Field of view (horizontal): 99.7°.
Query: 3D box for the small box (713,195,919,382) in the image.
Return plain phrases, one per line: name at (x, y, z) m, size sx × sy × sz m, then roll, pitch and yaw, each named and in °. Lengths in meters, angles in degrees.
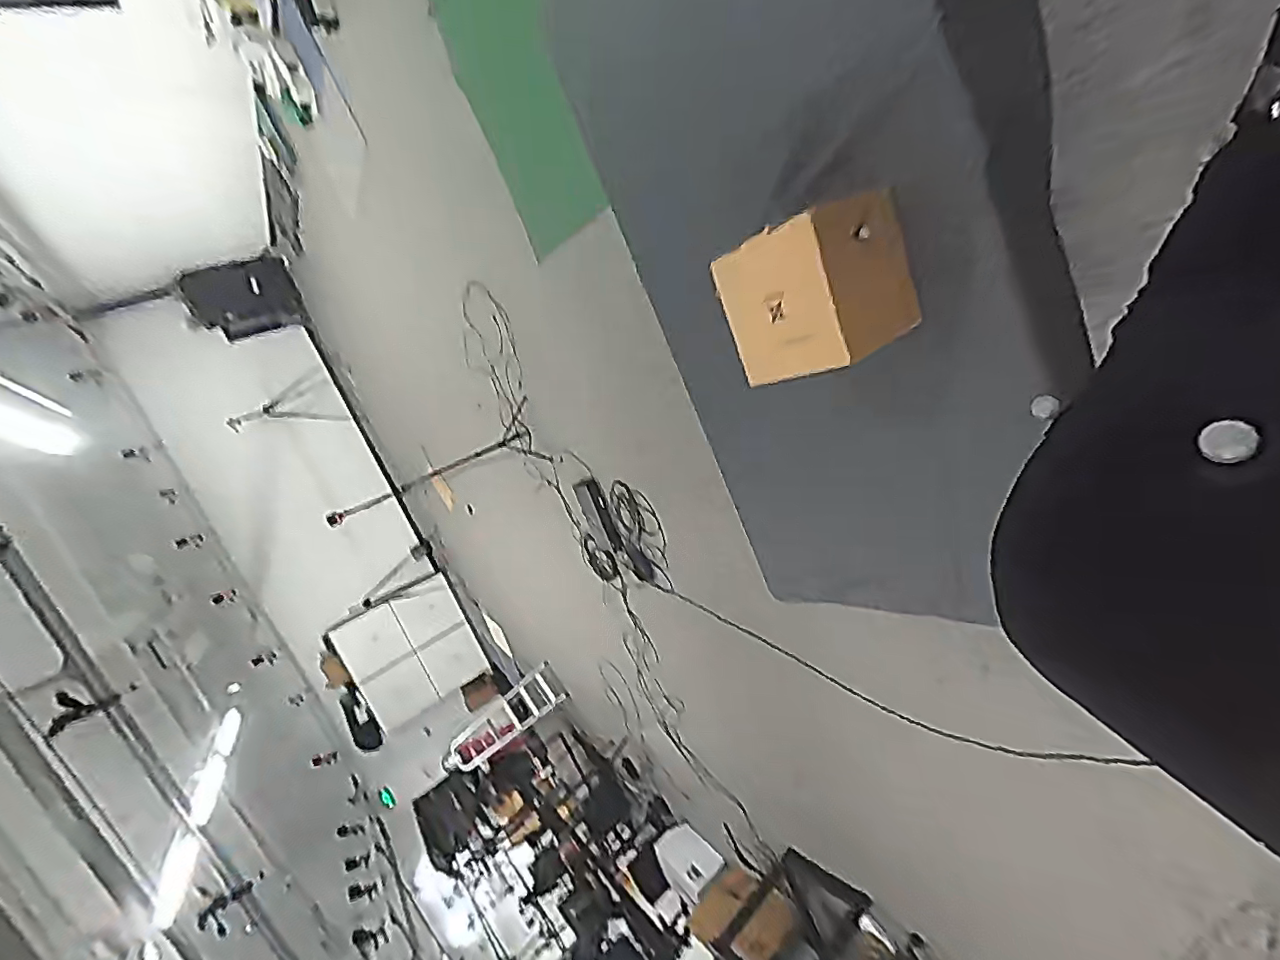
small box at (0.232, -0.252, 0.713) m, size 0.168 × 0.176 × 0.179 m, roll -3°, pitch 114°, yaw 58°
